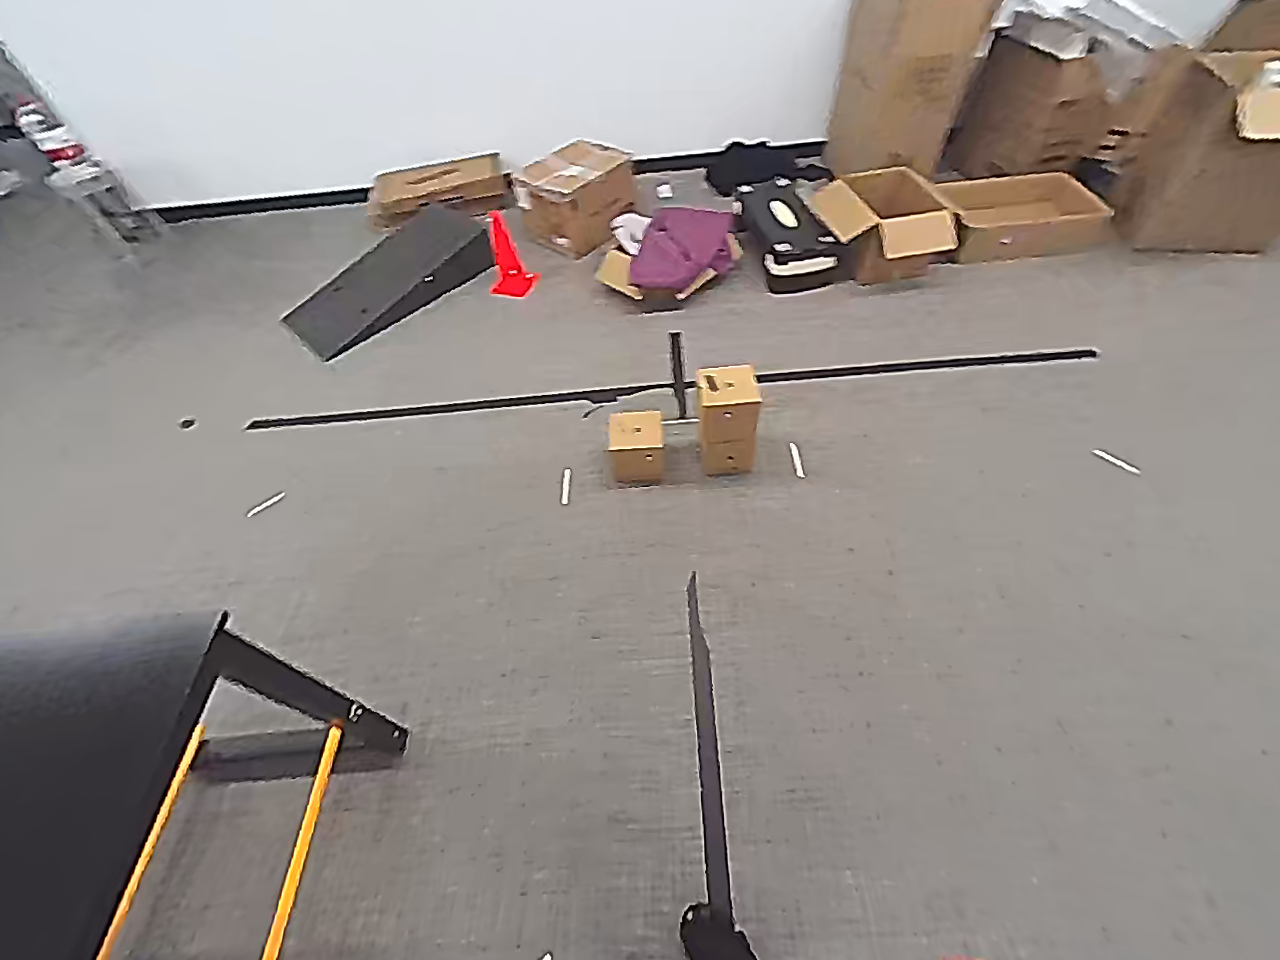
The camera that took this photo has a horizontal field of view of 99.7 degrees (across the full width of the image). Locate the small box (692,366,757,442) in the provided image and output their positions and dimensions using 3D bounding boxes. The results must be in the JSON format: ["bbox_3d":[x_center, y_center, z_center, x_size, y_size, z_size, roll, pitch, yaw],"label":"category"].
[{"bbox_3d":[0.262,-0.235,1.704,0.179,0.176,0.168,-6,52,0],"label":"small box"}]

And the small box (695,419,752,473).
[{"bbox_3d":[0.281,-0.138,1.837,0.168,0.176,0.179,-6,53,1],"label":"small box"}]

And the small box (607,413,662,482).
[{"bbox_3d":[-0.016,-0.109,1.840,0.179,0.176,0.168,-4,52,3],"label":"small box"}]
